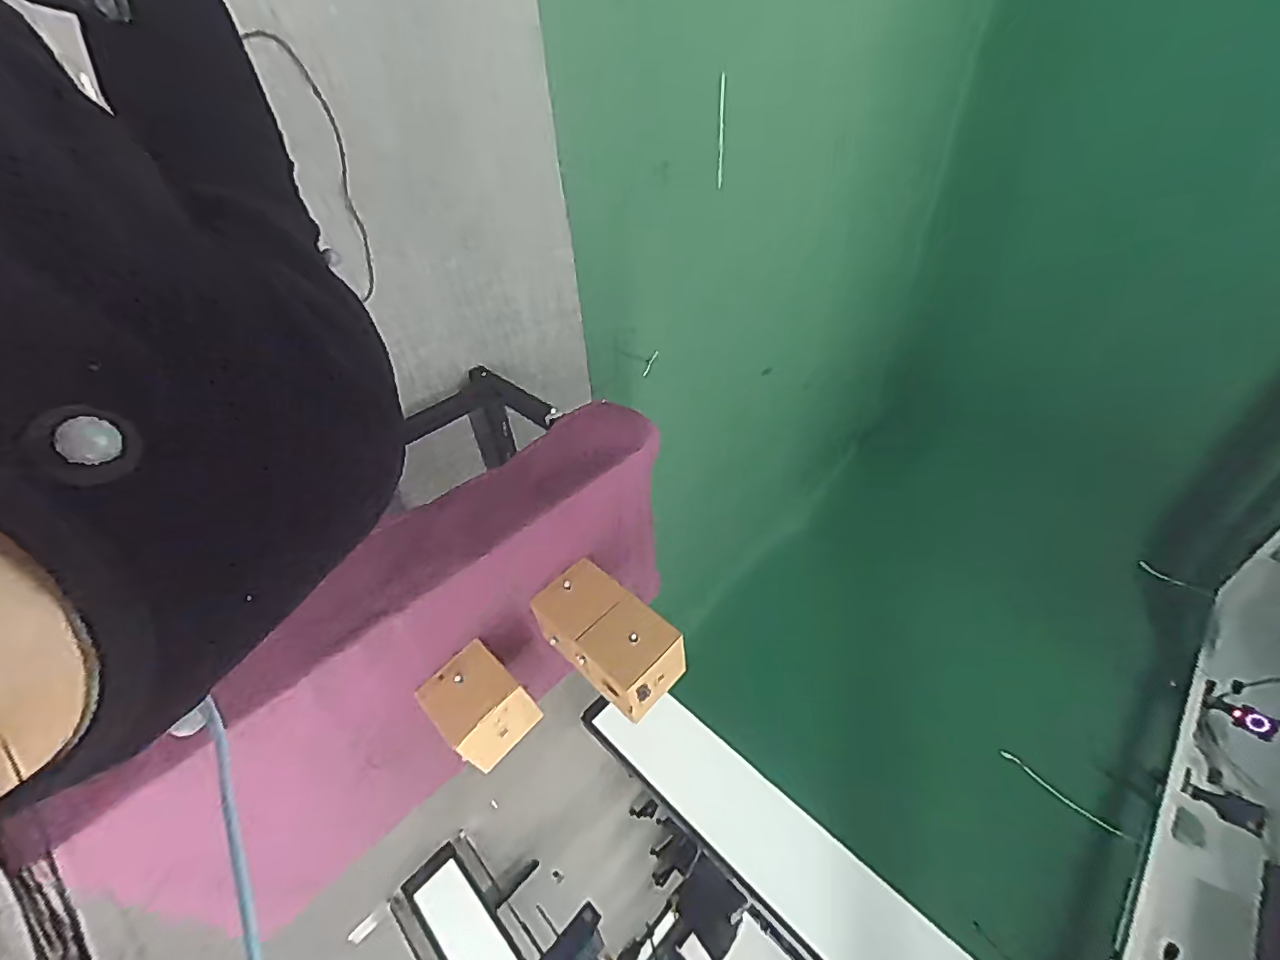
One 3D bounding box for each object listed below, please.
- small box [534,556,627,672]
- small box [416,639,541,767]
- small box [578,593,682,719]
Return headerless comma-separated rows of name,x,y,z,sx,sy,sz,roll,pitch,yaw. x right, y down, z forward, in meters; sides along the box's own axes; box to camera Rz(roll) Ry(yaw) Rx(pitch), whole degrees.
small box,-0.141,0.323,1.326,0.179,0.176,0.168,-37,141,-28
small box,-0.352,0.484,1.186,0.168,0.176,0.179,-42,142,-24
small box,-0.026,0.396,1.233,0.179,0.176,0.168,-38,141,-28
